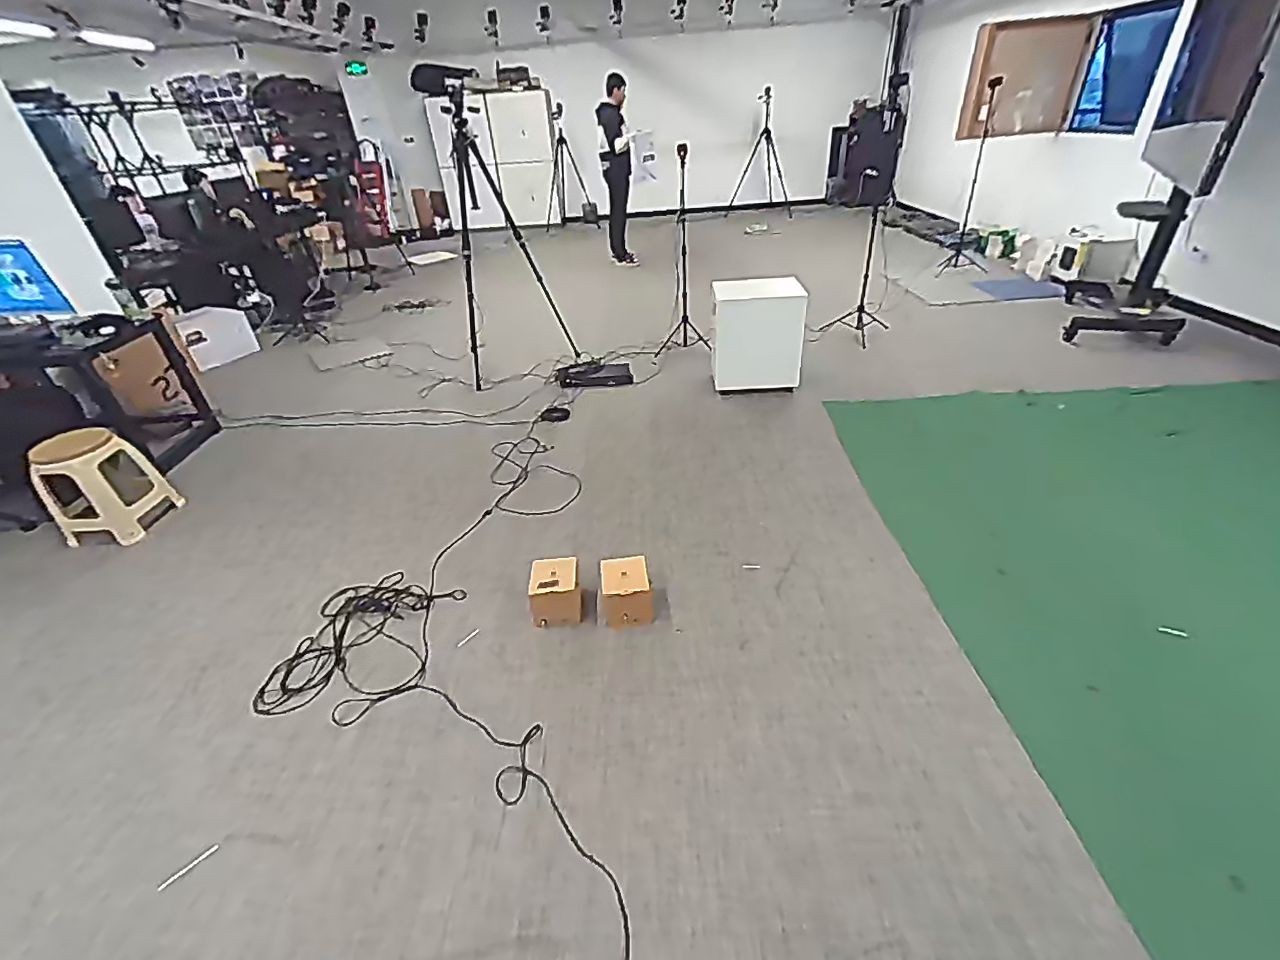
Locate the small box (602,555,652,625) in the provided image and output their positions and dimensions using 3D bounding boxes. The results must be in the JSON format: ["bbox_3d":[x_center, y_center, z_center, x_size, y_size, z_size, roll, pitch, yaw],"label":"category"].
[{"bbox_3d":[-0.049,0.396,1.955,0.168,0.176,0.179,-7,36,-3],"label":"small box"}]

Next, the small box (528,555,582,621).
[{"bbox_3d":[-0.303,0.400,1.975,0.168,0.176,0.179,-5,34,-1],"label":"small box"}]
